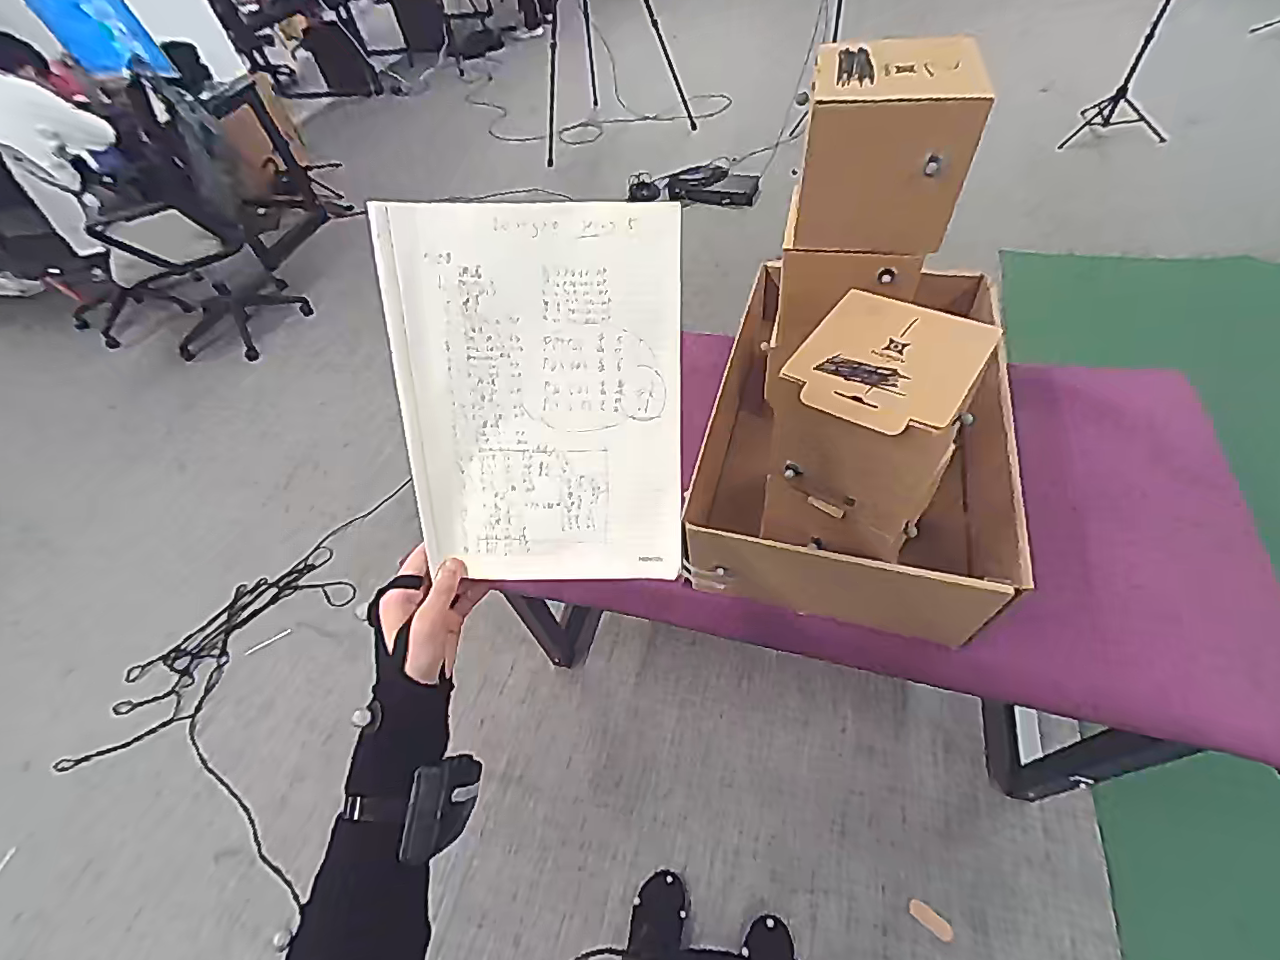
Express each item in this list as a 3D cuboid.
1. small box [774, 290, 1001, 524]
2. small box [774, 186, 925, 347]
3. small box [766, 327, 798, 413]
[{"bbox_3d":[0.266,-0.081,0.615,0.168,0.176,0.179,28,60,28],"label":"small box"},{"bbox_3d":[0.296,-0.303,0.788,0.179,0.176,0.168,8,56,14],"label":"small box"},{"bbox_3d":[0.311,-0.211,0.920,0.168,0.176,0.179,10,57,16],"label":"small box"}]
